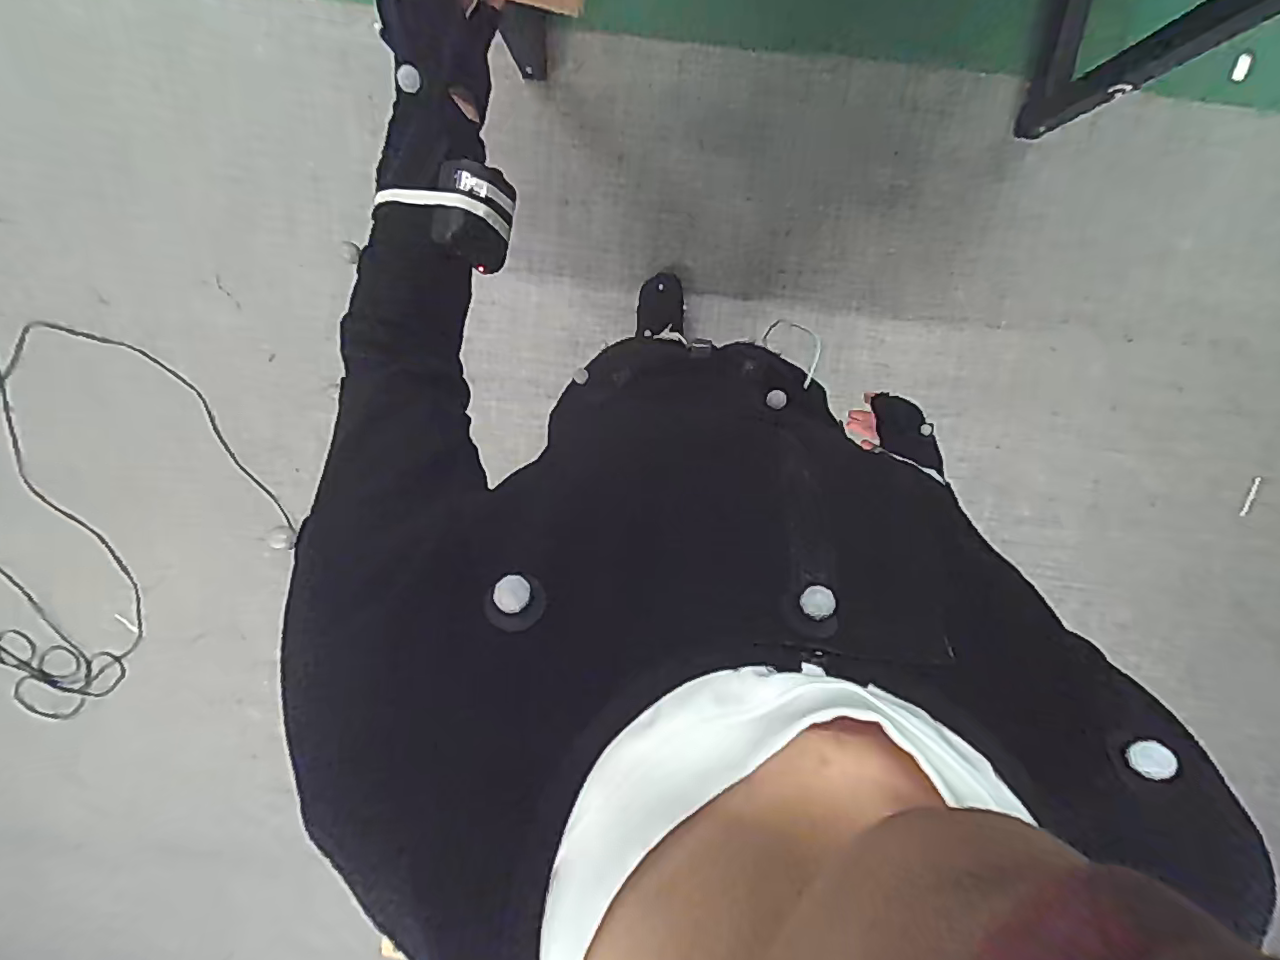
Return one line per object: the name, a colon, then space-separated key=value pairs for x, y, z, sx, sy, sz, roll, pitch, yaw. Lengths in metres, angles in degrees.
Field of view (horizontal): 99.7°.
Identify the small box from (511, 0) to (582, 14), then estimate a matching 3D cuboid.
small box: x=-0.116 y=-0.509 z=0.413 sx=0.168 sy=0.176 sz=0.179 roll=8 pitch=115 yaw=-7
